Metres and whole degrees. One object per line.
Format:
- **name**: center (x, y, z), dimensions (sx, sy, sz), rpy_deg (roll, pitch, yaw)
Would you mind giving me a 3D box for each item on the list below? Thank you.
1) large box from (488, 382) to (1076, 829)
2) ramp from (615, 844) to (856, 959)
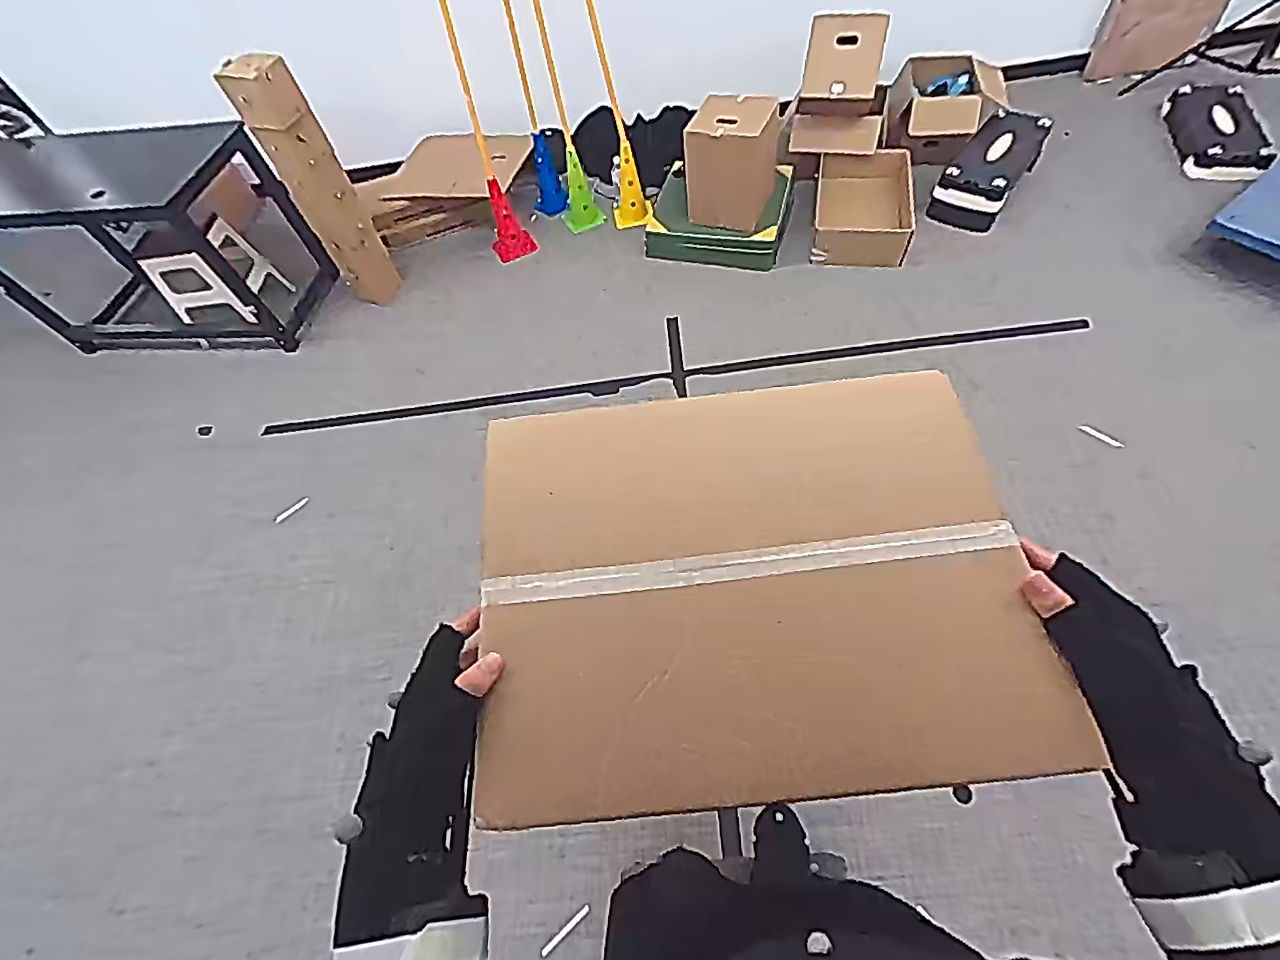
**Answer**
- **large box**: center (0.090, 0.135, 0.556), dimensions (0.408, 0.320, 0.320), rpy_deg (-6, 63, 1)
- **ramp**: center (0.224, 1.282, 1.007), dimensions (0.509, 0.206, 0.991), rpy_deg (-6, 58, 1)
